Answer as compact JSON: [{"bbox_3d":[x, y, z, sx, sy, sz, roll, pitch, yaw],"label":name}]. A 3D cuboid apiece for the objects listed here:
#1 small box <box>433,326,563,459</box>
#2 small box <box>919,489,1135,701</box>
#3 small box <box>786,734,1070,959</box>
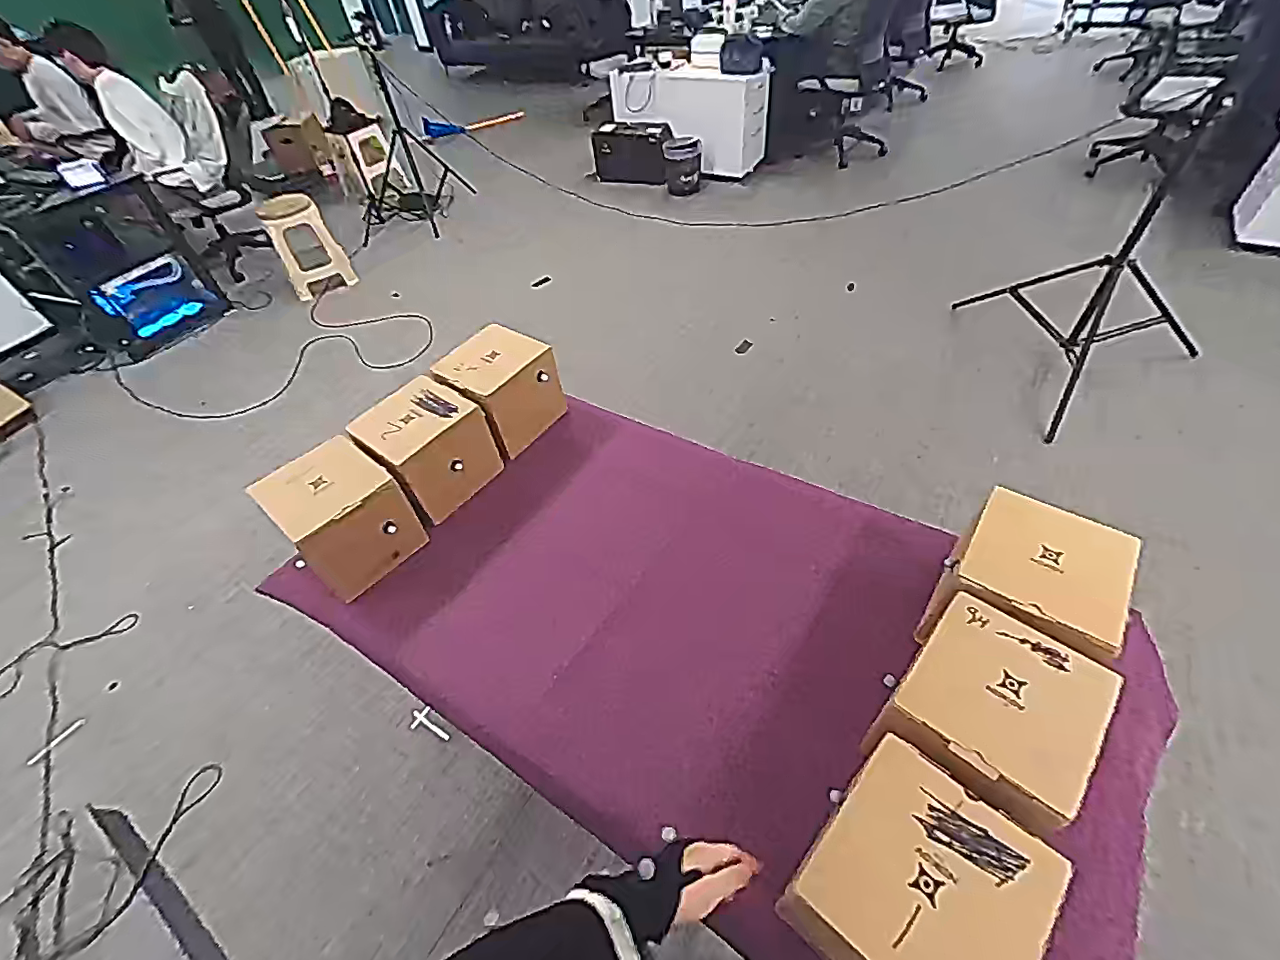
[{"bbox_3d":[-0.274,-0.177,1.091,0.168,0.176,0.179,27,57,27],"label":"small box"},{"bbox_3d":[0.496,0.151,0.712,0.168,0.176,0.179,27,56,26],"label":"small box"},{"bbox_3d":[0.258,0.394,0.522,0.168,0.176,0.179,33,59,32],"label":"small box"}]
